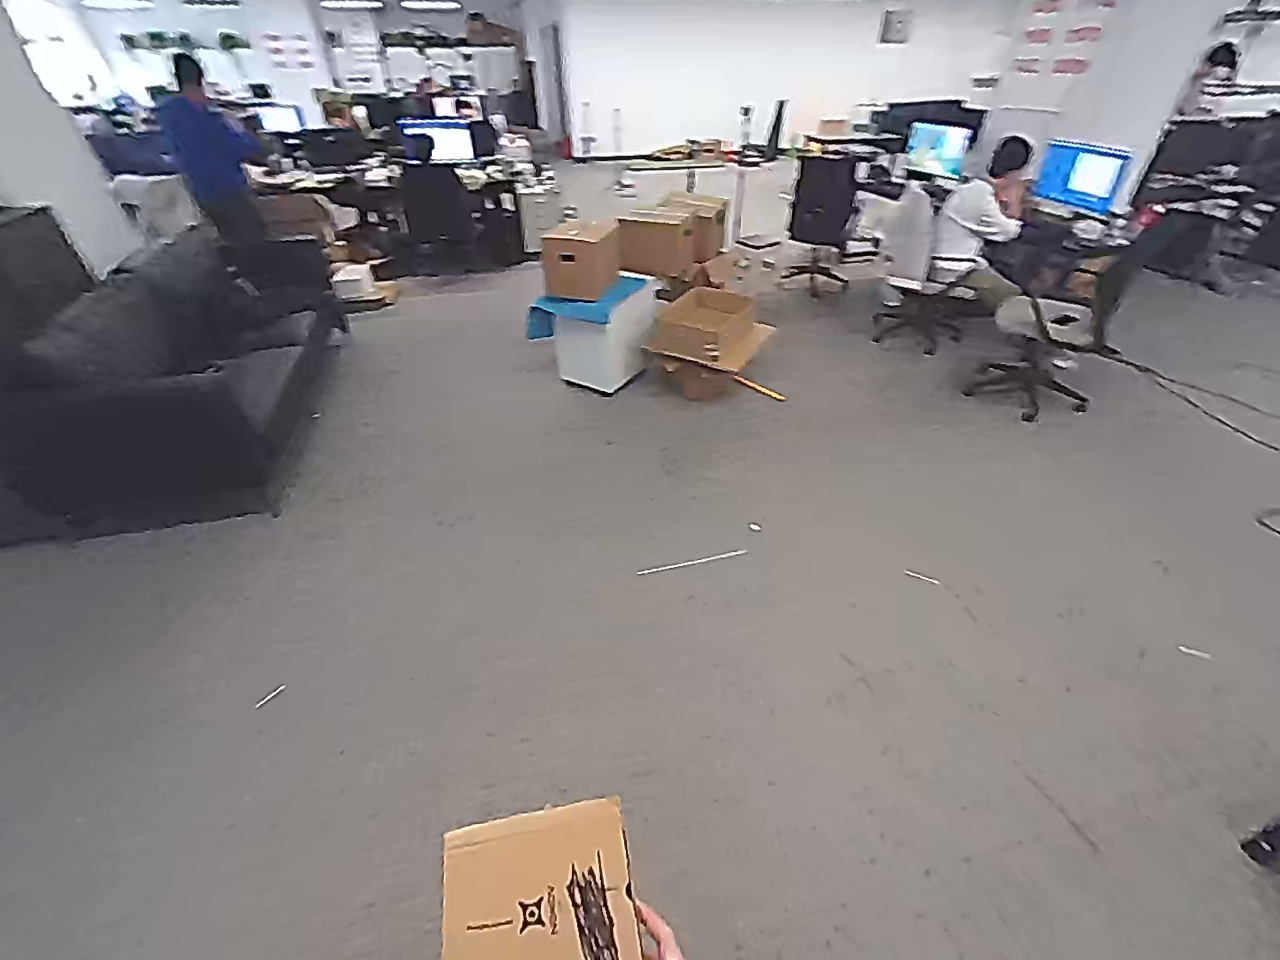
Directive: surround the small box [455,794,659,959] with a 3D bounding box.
[{"bbox_3d":[-0.085,0.443,0.552,0.179,0.176,0.168,-5,49,-10],"label":"small box"}]
